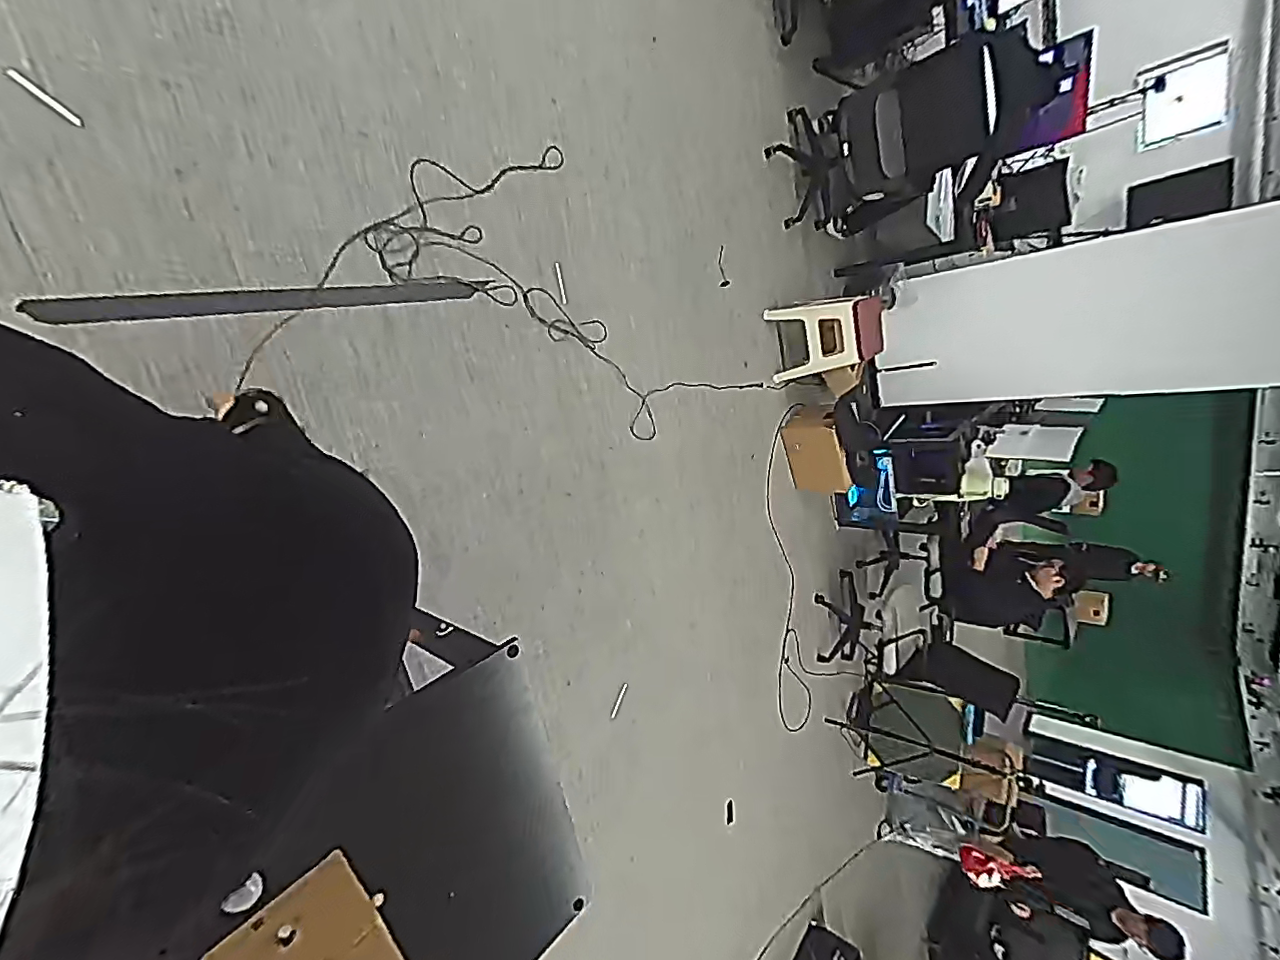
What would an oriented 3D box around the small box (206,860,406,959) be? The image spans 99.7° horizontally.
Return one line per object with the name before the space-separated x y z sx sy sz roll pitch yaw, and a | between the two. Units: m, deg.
small box | -0.398 0.620 0.668 0.168 0.176 0.179 -30 112 -41
